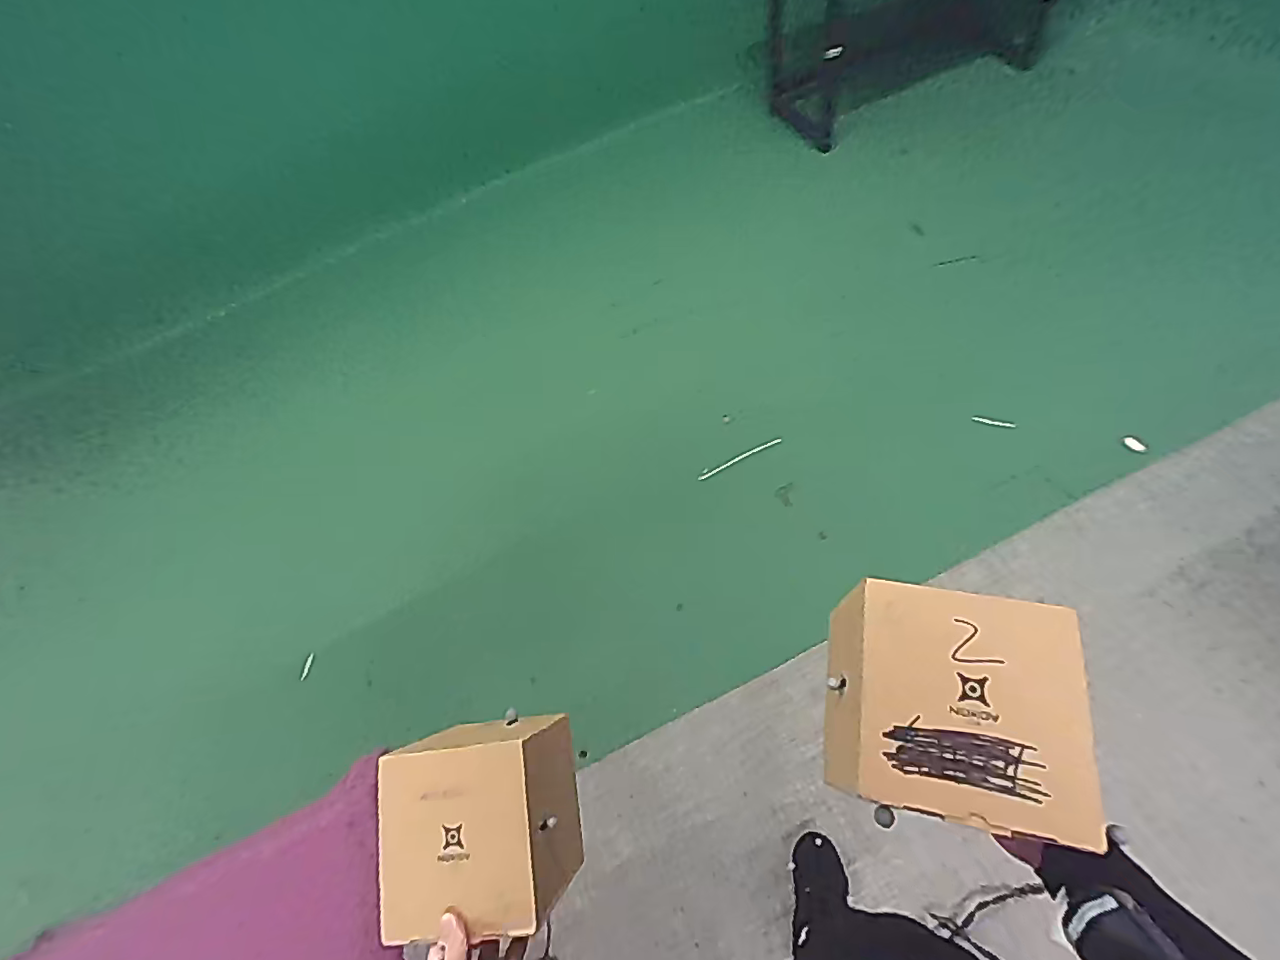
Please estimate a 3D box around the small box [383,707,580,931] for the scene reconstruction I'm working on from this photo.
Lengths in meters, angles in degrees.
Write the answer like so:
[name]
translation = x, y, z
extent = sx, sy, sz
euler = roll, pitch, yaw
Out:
[small box]
translation = -0.173, 0.377, 0.629
extent = 0.168, 0.176, 0.179
euler = -8, 75, 8
